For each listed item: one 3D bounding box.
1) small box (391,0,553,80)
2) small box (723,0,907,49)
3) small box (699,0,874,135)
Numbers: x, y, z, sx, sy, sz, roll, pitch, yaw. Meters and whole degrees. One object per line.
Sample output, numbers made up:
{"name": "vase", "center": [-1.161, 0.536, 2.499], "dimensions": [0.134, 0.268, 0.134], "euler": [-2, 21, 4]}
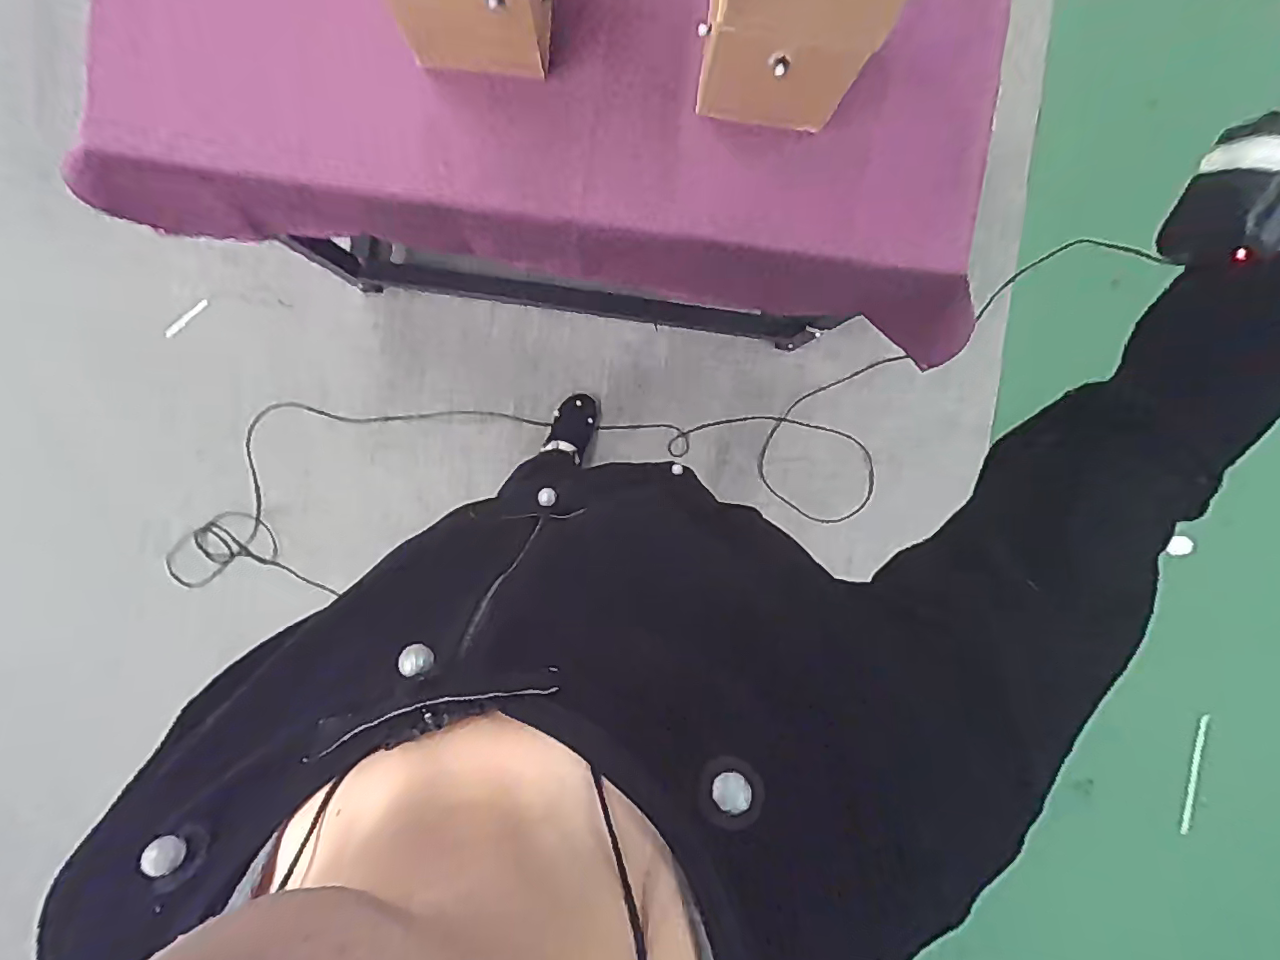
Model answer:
{"name": "small box", "center": [-0.203, -0.619, 0.644], "dimensions": [0.179, 0.176, 0.168], "euler": [3, 93, -3]}
{"name": "small box", "center": [0.186, -0.546, 0.498], "dimensions": [0.179, 0.176, 0.168], "euler": [8, 94, -2]}
{"name": "small box", "center": [0.176, -0.559, 0.661], "dimensions": [0.179, 0.176, 0.168], "euler": [8, 94, -3]}
